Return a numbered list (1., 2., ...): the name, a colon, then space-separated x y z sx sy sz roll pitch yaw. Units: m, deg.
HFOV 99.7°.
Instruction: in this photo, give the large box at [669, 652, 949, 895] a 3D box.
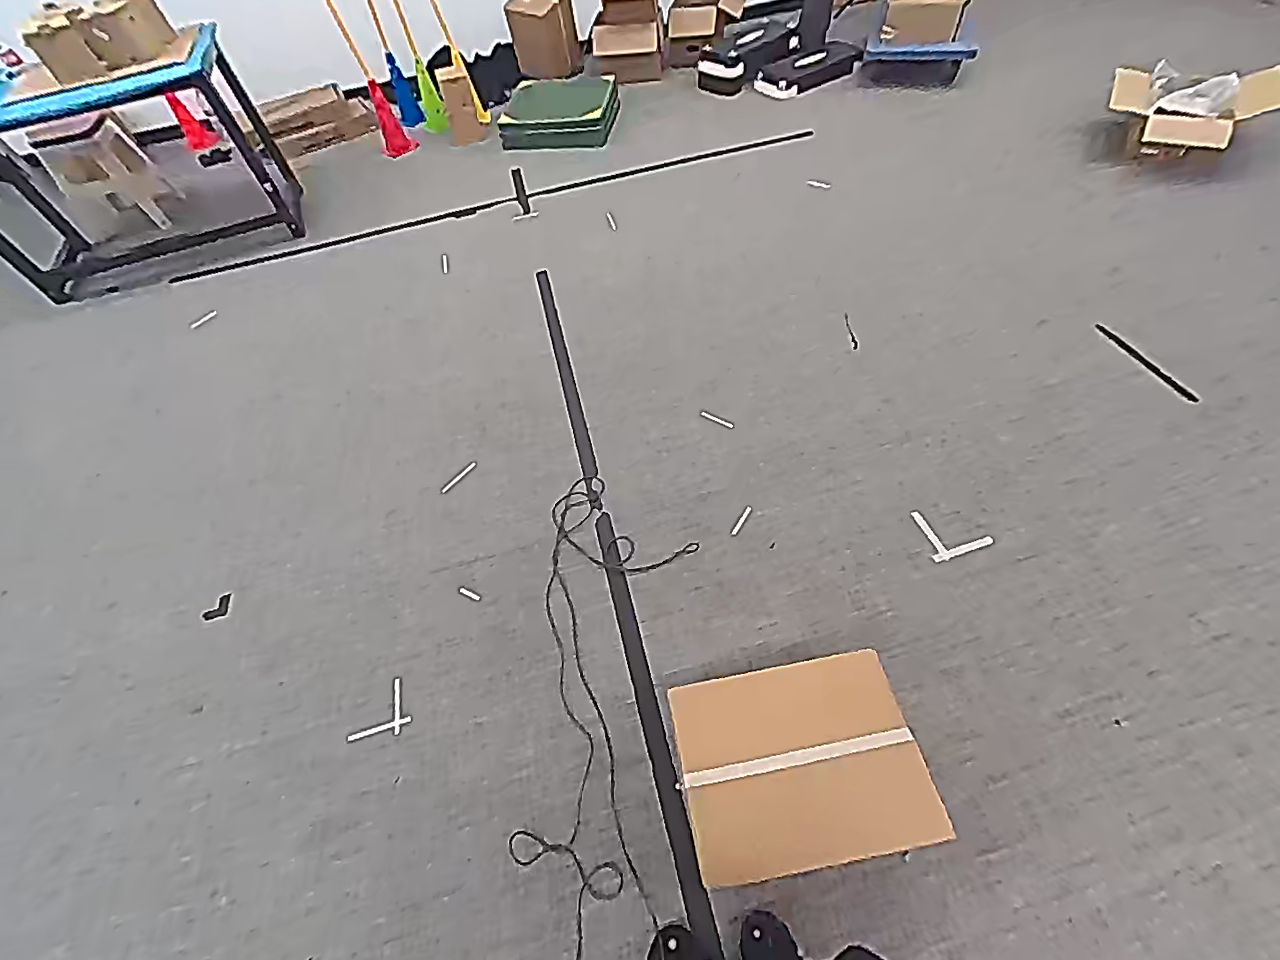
1. large box: 0.287 0.572 1.056 0.408 0.320 0.320 -11 53 -2
